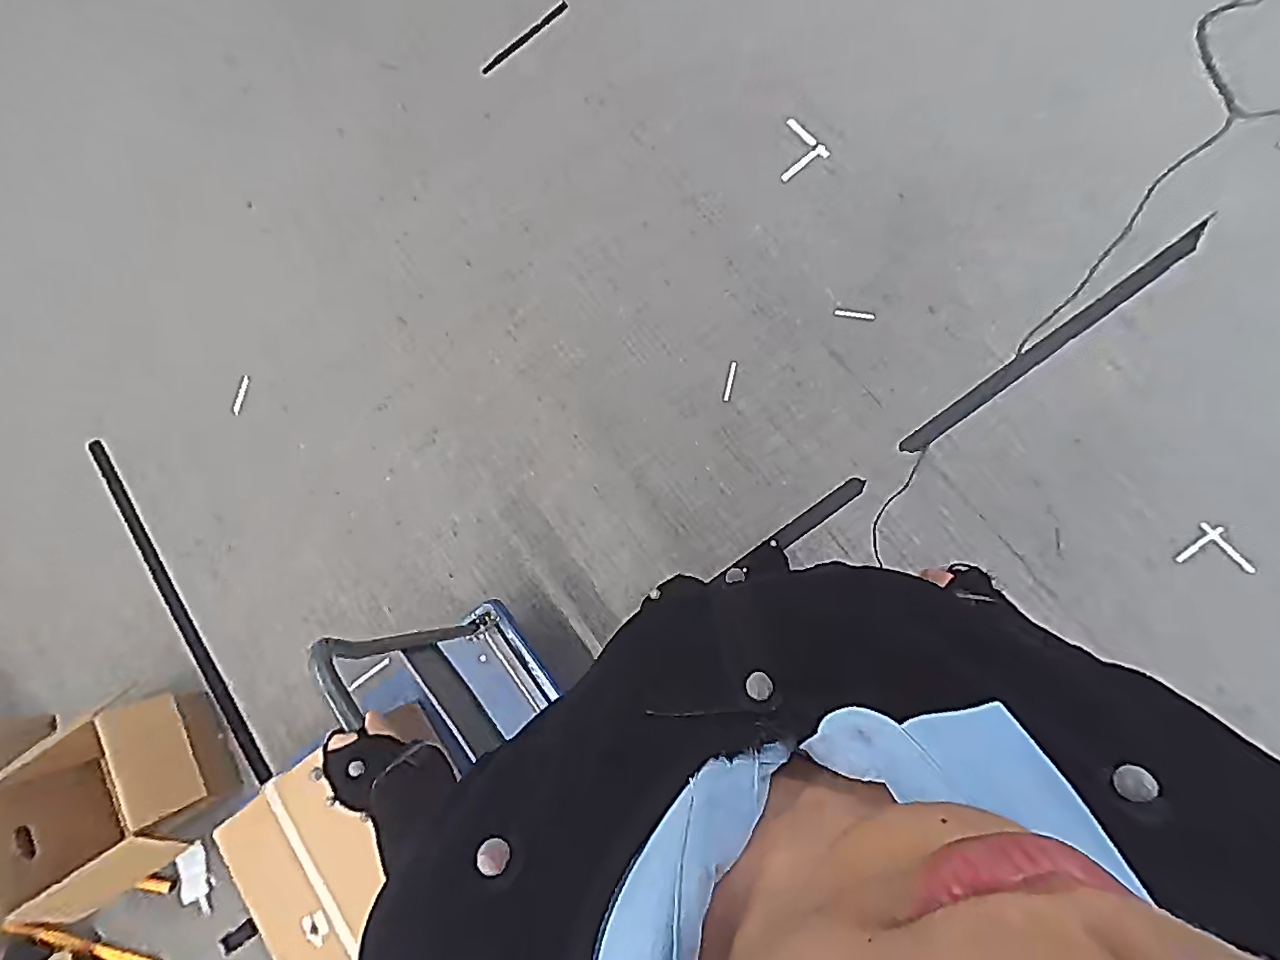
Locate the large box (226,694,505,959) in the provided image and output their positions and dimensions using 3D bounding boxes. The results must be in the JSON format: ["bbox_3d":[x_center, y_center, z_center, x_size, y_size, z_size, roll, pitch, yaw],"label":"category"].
[{"bbox_3d":[-0.575,0.761,1.191,0.320,0.320,0.408,-39,79,2],"label":"large box"}]
